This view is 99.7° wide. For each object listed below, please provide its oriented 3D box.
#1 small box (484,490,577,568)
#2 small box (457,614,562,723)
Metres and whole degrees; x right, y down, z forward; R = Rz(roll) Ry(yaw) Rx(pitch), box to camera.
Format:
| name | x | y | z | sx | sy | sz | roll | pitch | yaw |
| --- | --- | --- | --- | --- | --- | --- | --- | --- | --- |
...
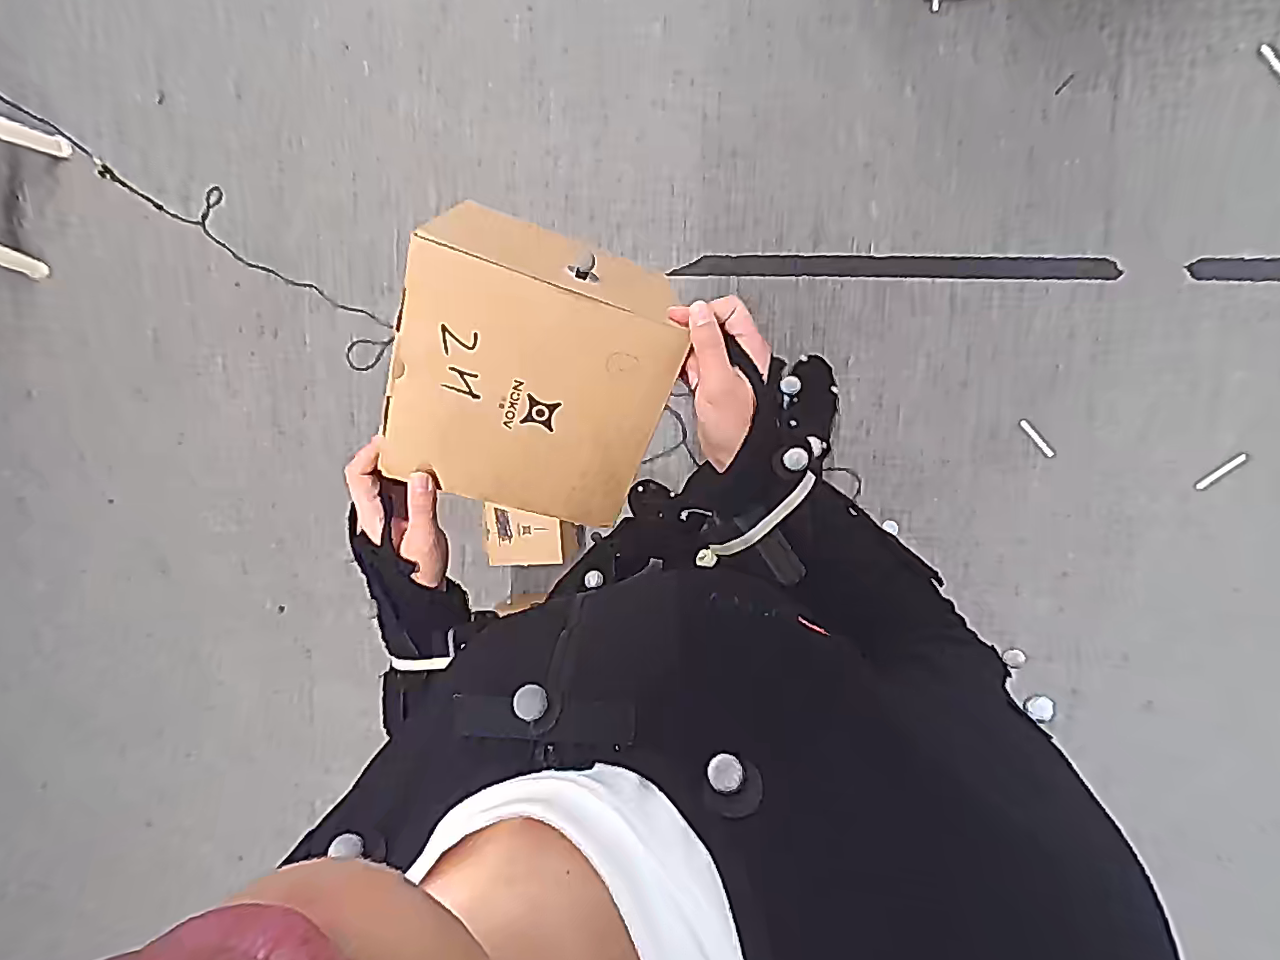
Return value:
| name | x | y | z | sx | sy | sz | roll | pitch | yaw |
| --- | --- | --- | --- | --- | --- | --- | --- | --- | --- |
| small box | -0.259 | 0.115 | 1.305 | 0.179 | 0.176 | 0.168 | -2 | 94 | 6 |
| small box | -0.273 | 0.394 | 1.161 | 0.168 | 0.176 | 0.179 | -6 | 93 | 7 |
